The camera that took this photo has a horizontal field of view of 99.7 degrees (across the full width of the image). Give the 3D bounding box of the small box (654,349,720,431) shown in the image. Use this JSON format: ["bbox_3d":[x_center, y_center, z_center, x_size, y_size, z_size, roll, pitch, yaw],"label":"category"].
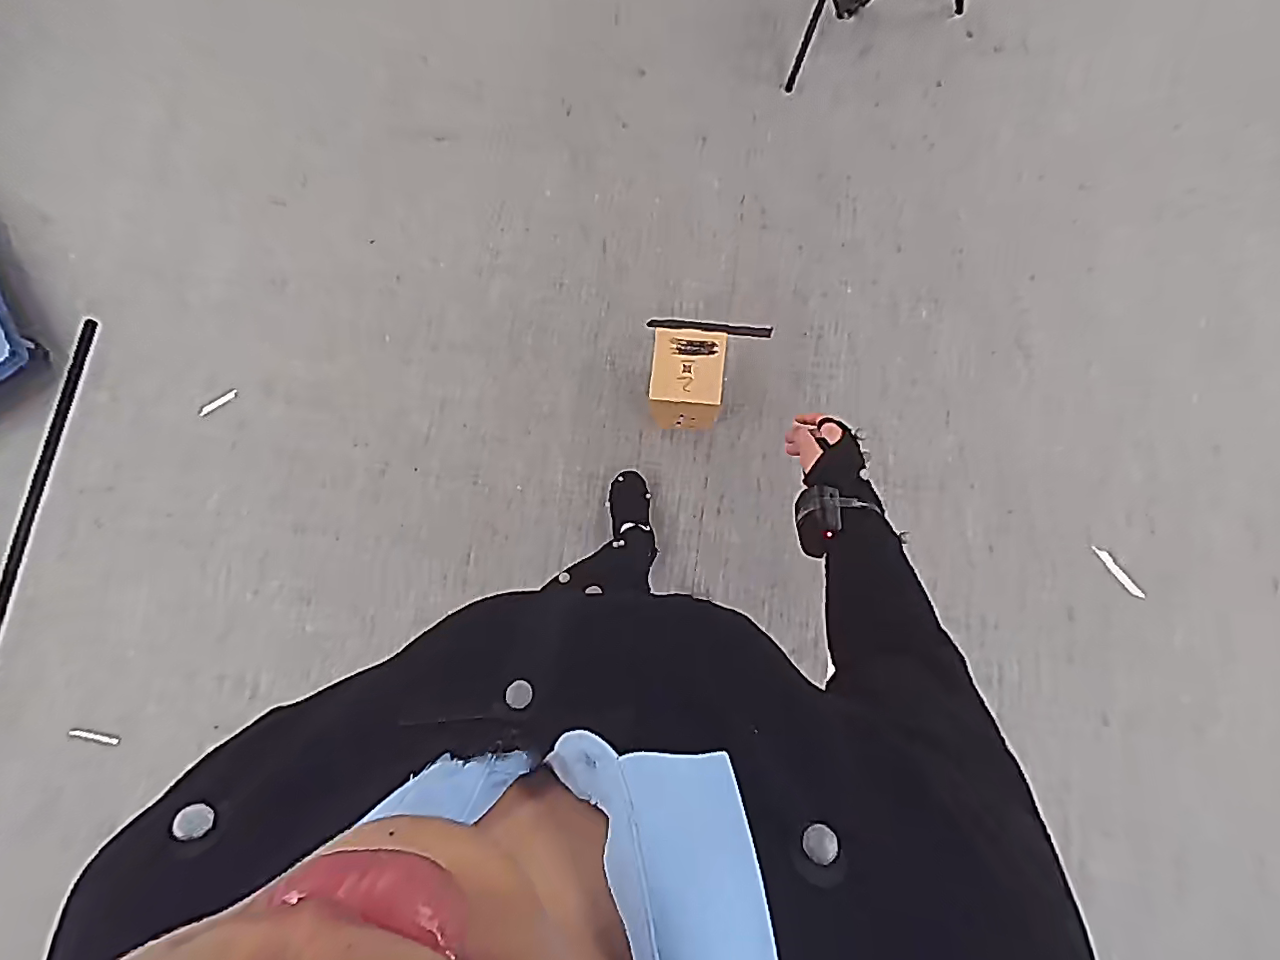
[{"bbox_3d":[0.127,-0.242,1.477,0.168,0.176,0.179,2,81,5],"label":"small box"}]
